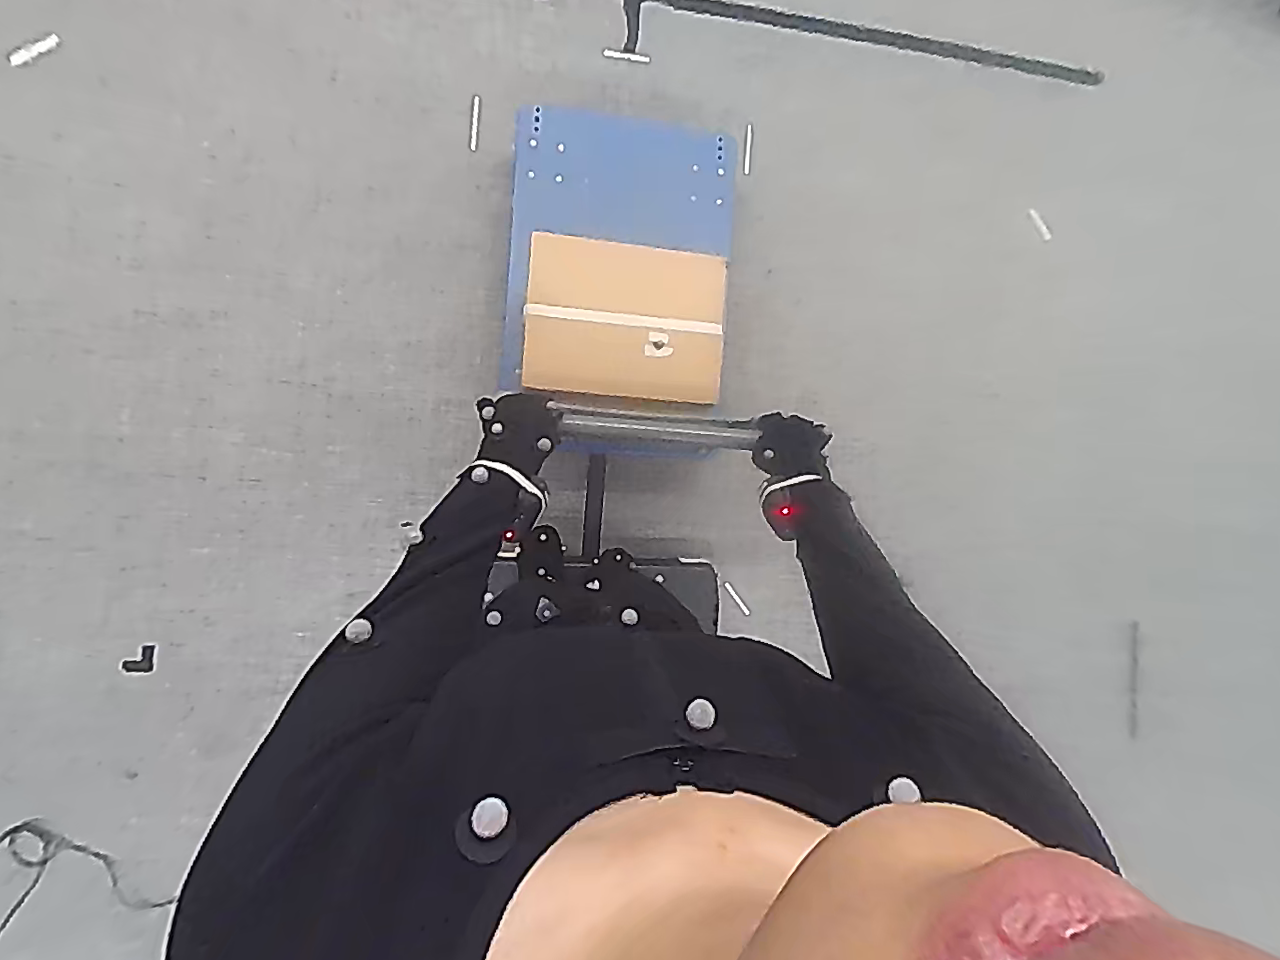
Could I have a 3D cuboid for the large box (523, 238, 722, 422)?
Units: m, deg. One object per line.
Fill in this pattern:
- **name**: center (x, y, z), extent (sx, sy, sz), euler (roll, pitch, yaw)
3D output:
- **large box**: center (-0.056, -0.315, 1.243), extent (0.408, 0.320, 0.320), euler (4, 90, -10)
